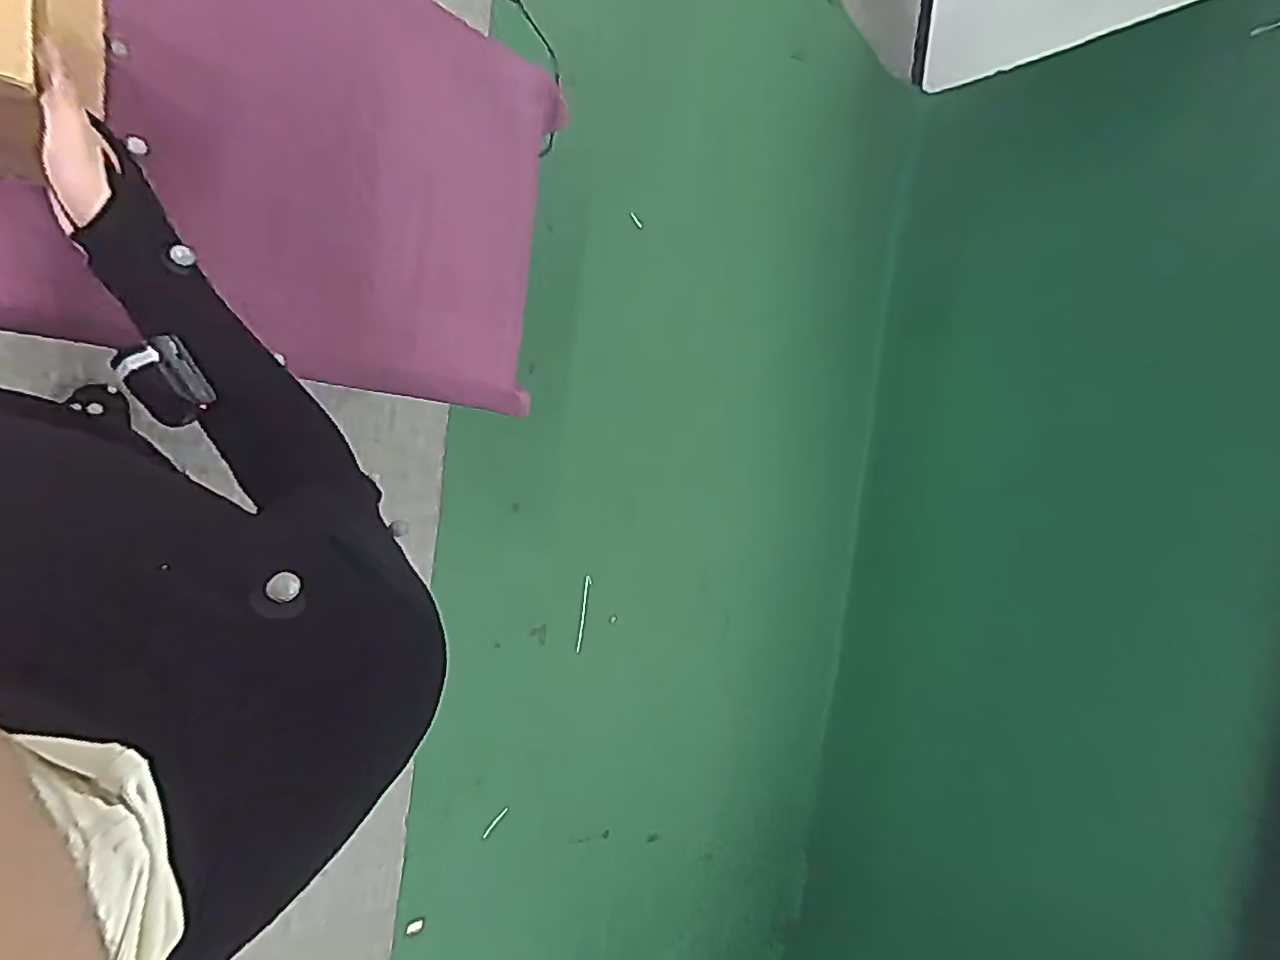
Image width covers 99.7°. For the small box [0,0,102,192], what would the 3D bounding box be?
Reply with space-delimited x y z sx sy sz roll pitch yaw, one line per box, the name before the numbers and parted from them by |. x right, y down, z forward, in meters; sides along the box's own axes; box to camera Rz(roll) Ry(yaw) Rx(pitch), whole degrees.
small box | -0.633 -0.411 0.515 0.168 0.176 0.179 1 96 -44
